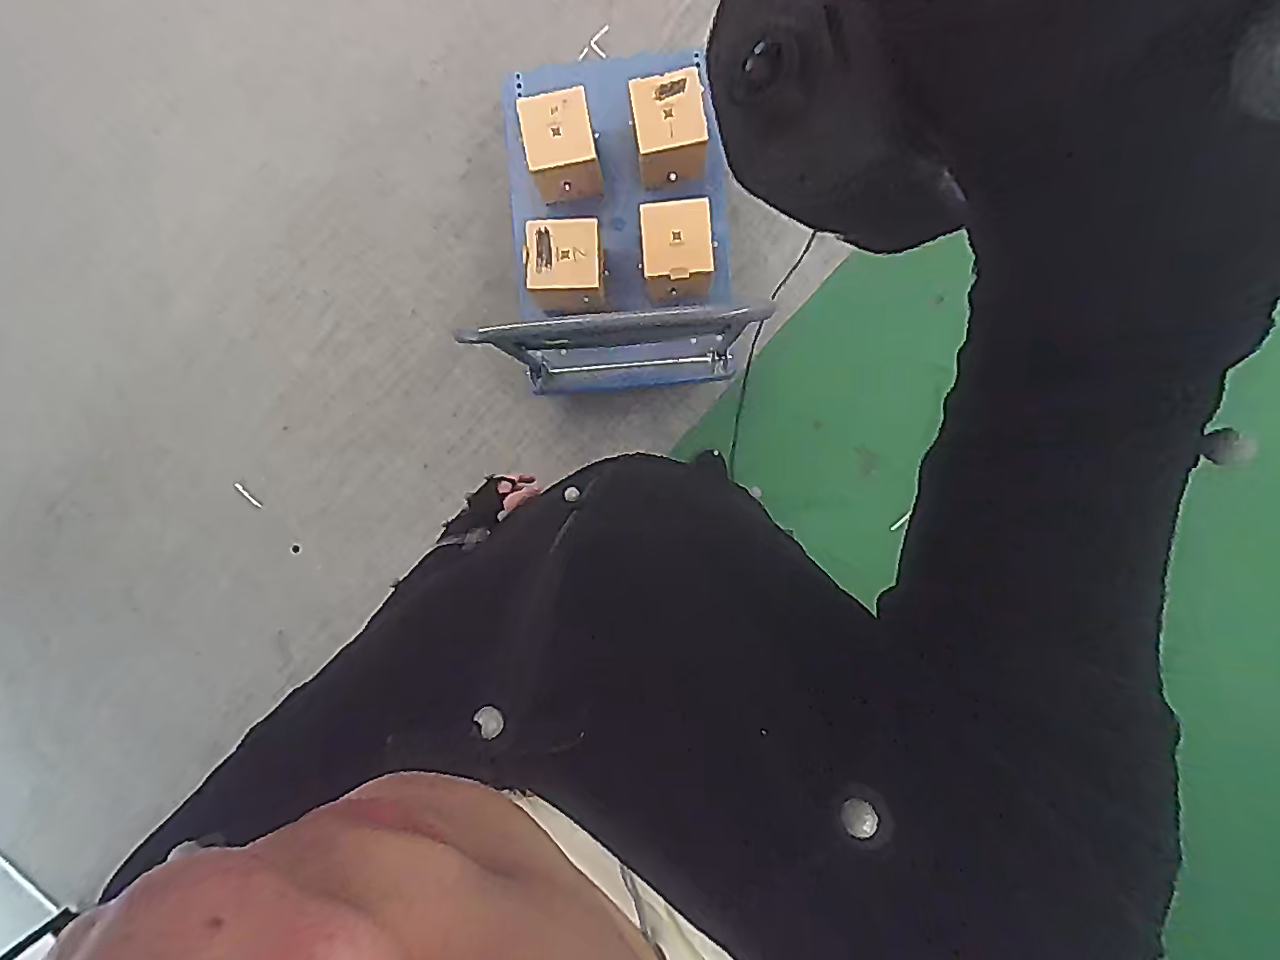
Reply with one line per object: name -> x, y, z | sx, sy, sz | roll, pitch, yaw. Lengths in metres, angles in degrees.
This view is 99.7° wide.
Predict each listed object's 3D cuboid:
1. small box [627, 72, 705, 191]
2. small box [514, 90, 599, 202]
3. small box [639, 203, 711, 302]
small box -> 0.063, -0.859, 1.347 | 0.168, 0.176, 0.179 | -9, 92, 3
small box -> -0.203, -0.824, 1.358 | 0.168, 0.176, 0.179 | -10, 91, 1
small box -> 0.083, -0.564, 1.357 | 0.168, 0.176, 0.179 | -5, 92, 2
